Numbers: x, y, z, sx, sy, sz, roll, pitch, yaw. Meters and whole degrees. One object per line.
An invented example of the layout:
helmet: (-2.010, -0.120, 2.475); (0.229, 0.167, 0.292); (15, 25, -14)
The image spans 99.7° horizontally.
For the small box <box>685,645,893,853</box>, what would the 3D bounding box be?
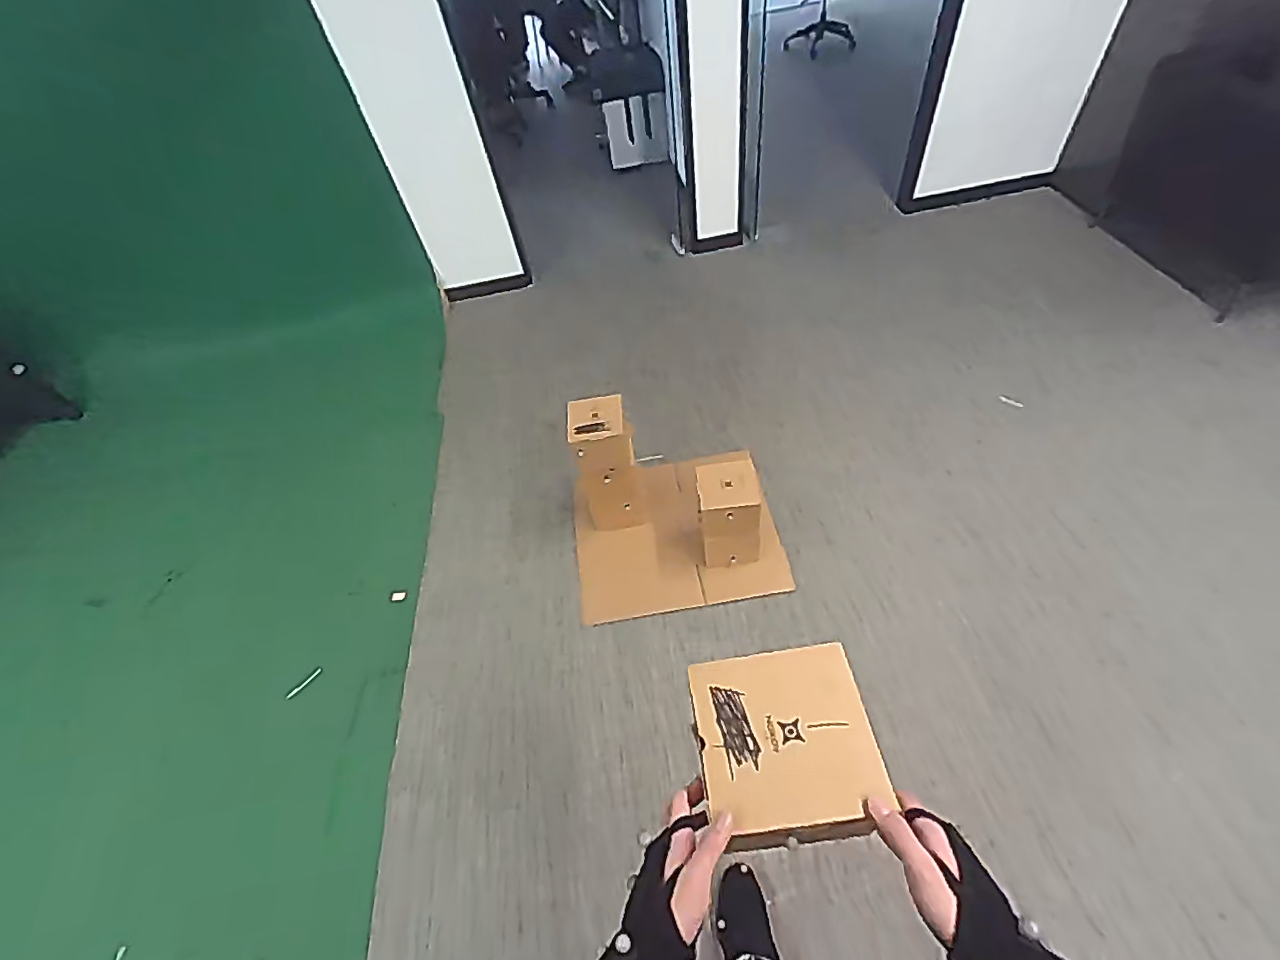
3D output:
small box: (0.154, 0.307, 0.609); (0.179, 0.176, 0.168); (-9, 50, 3)

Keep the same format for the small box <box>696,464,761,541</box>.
small box: (0.268, 0.074, 1.650); (0.179, 0.176, 0.168); (-6, 52, 4)

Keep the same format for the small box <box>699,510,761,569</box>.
small box: (0.290, 0.177, 1.775); (0.179, 0.176, 0.168); (-8, 51, 3)

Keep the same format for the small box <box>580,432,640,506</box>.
small box: (-0.096, -0.034, 1.792); (0.179, 0.176, 0.168); (-9, 51, 2)

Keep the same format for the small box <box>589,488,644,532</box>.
small box: (-0.082, 0.067, 1.918); (0.179, 0.176, 0.168); (-9, 50, 2)
